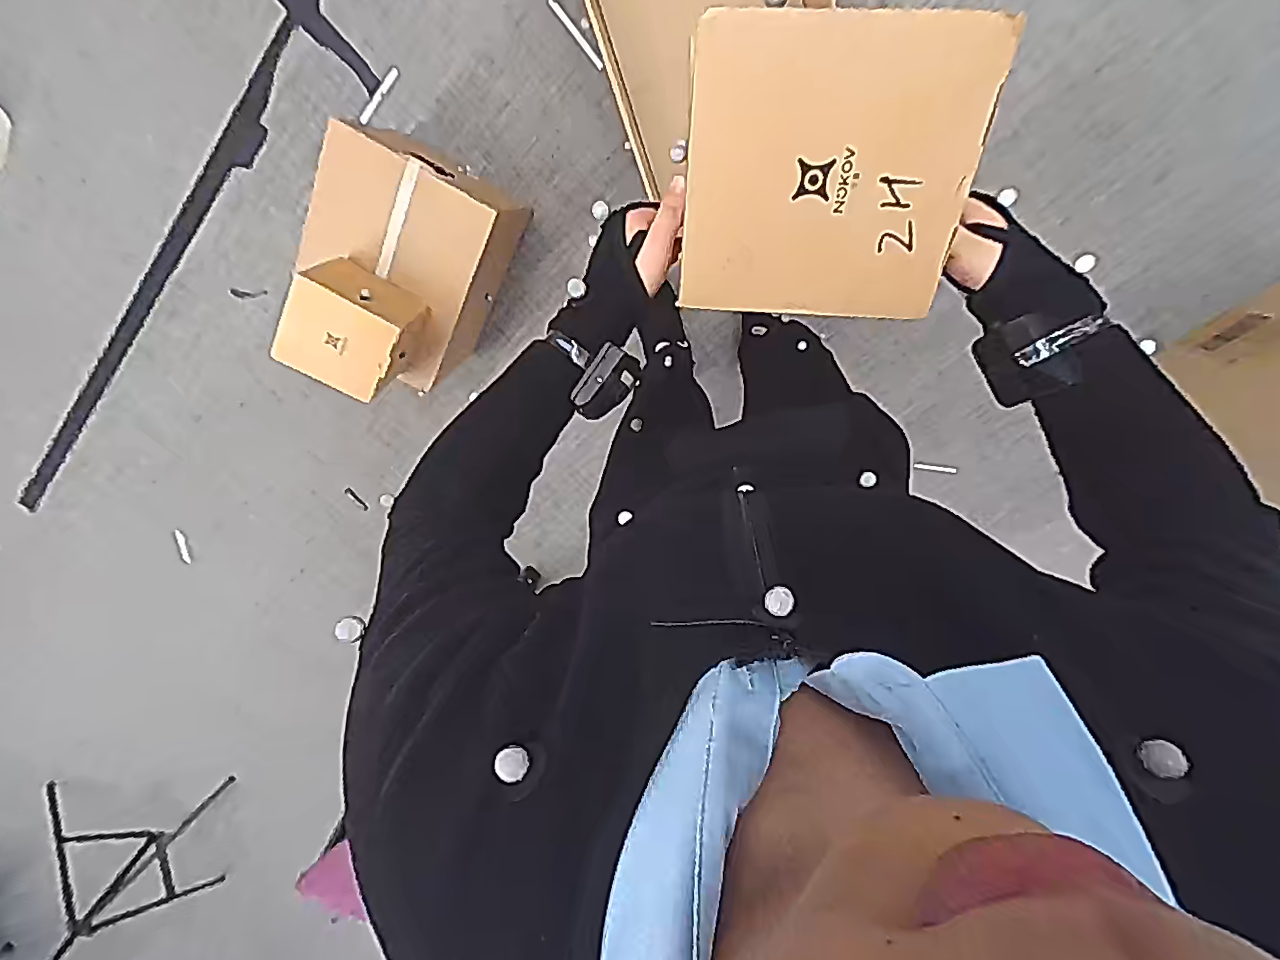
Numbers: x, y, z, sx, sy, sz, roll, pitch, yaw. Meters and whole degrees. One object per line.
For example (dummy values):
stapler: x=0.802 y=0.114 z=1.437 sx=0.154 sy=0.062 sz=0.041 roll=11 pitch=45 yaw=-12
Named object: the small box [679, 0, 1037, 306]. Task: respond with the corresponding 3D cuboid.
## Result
small box: x=0.123 y=-0.238 z=0.392 sx=0.179 sy=0.176 sz=0.168 roll=4 pitch=126 yaw=3
